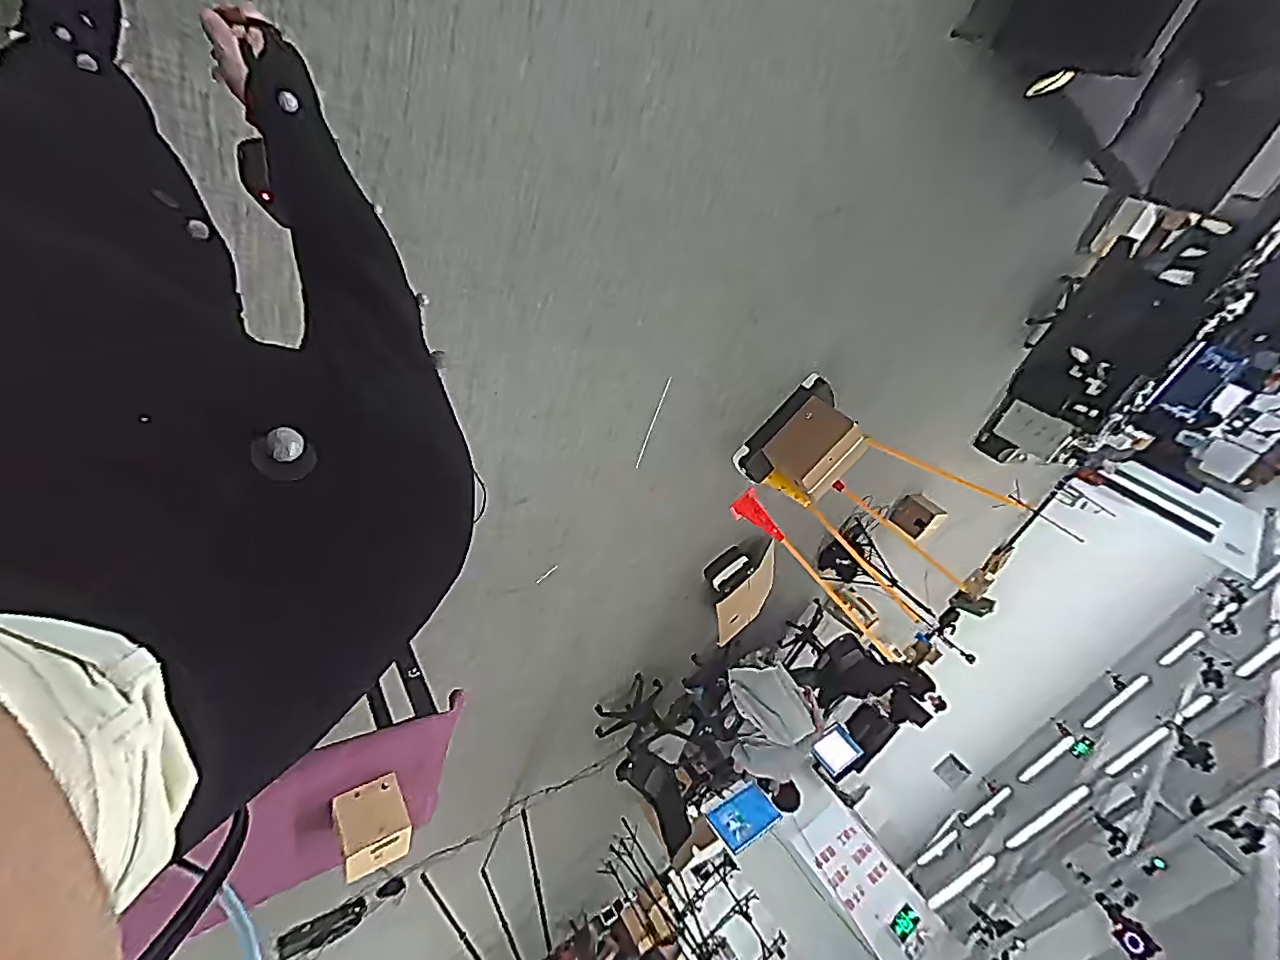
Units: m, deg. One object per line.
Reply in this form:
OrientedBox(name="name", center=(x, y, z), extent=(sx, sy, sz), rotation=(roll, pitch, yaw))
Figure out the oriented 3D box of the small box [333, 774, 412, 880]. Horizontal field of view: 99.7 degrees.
OrientedBox(name="small box", center=(-0.759, 0.970, 1.530), extent=(0.168, 0.176, 0.179), rotation=(-9, 132, -37))
